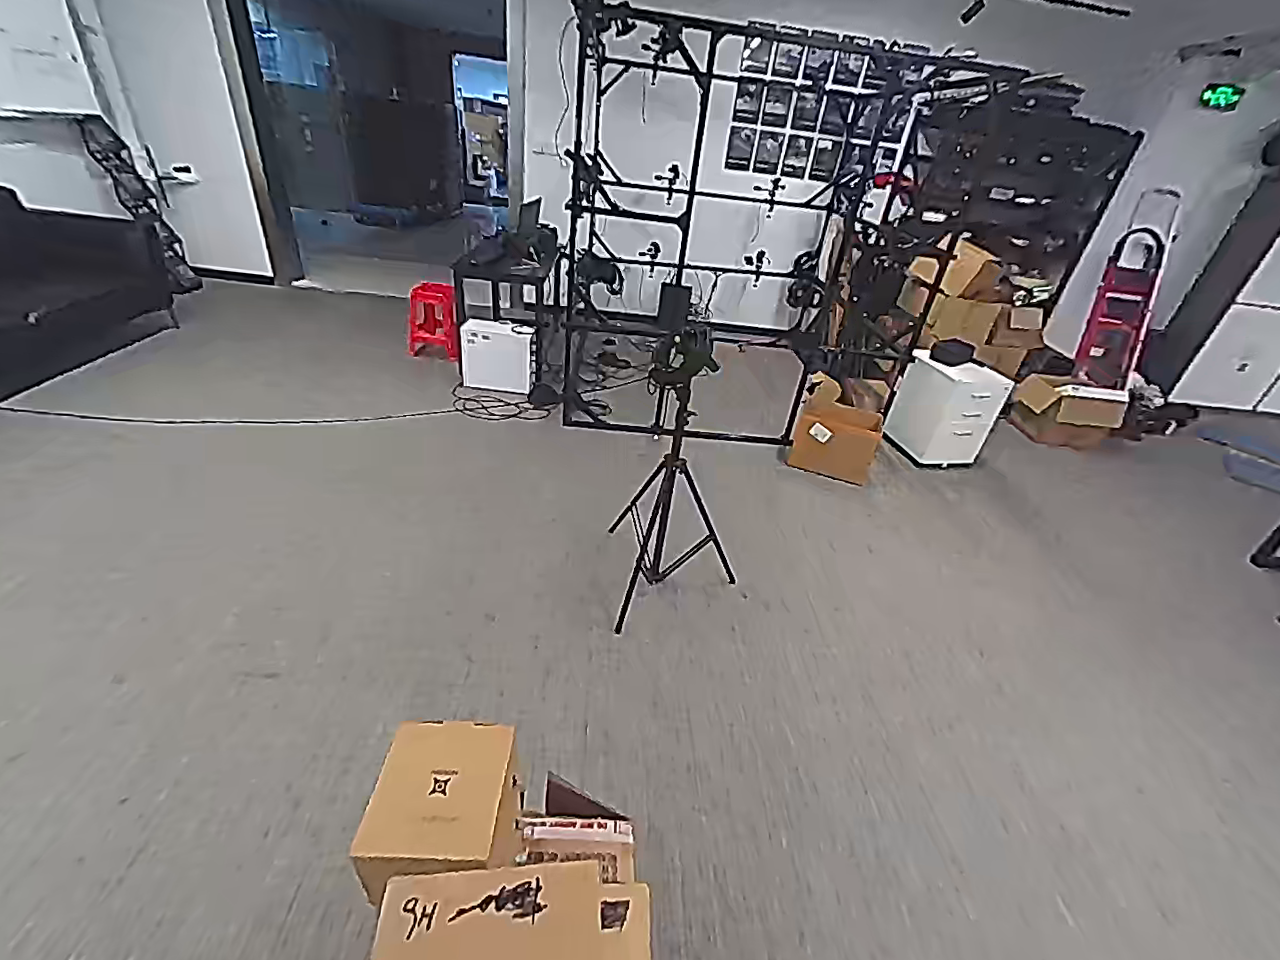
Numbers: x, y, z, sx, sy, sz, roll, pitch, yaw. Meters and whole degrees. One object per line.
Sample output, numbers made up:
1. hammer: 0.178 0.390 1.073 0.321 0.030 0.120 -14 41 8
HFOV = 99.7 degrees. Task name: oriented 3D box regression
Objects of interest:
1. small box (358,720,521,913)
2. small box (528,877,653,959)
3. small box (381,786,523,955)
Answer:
1. small box: -0.263 0.467 0.757 0.168 0.176 0.179 3 34 -3
2. small box: -0.075 0.691 0.752 0.168 0.176 0.179 5 34 -5
3. small box: -0.280 0.601 0.847 0.168 0.176 0.179 4 34 -3
